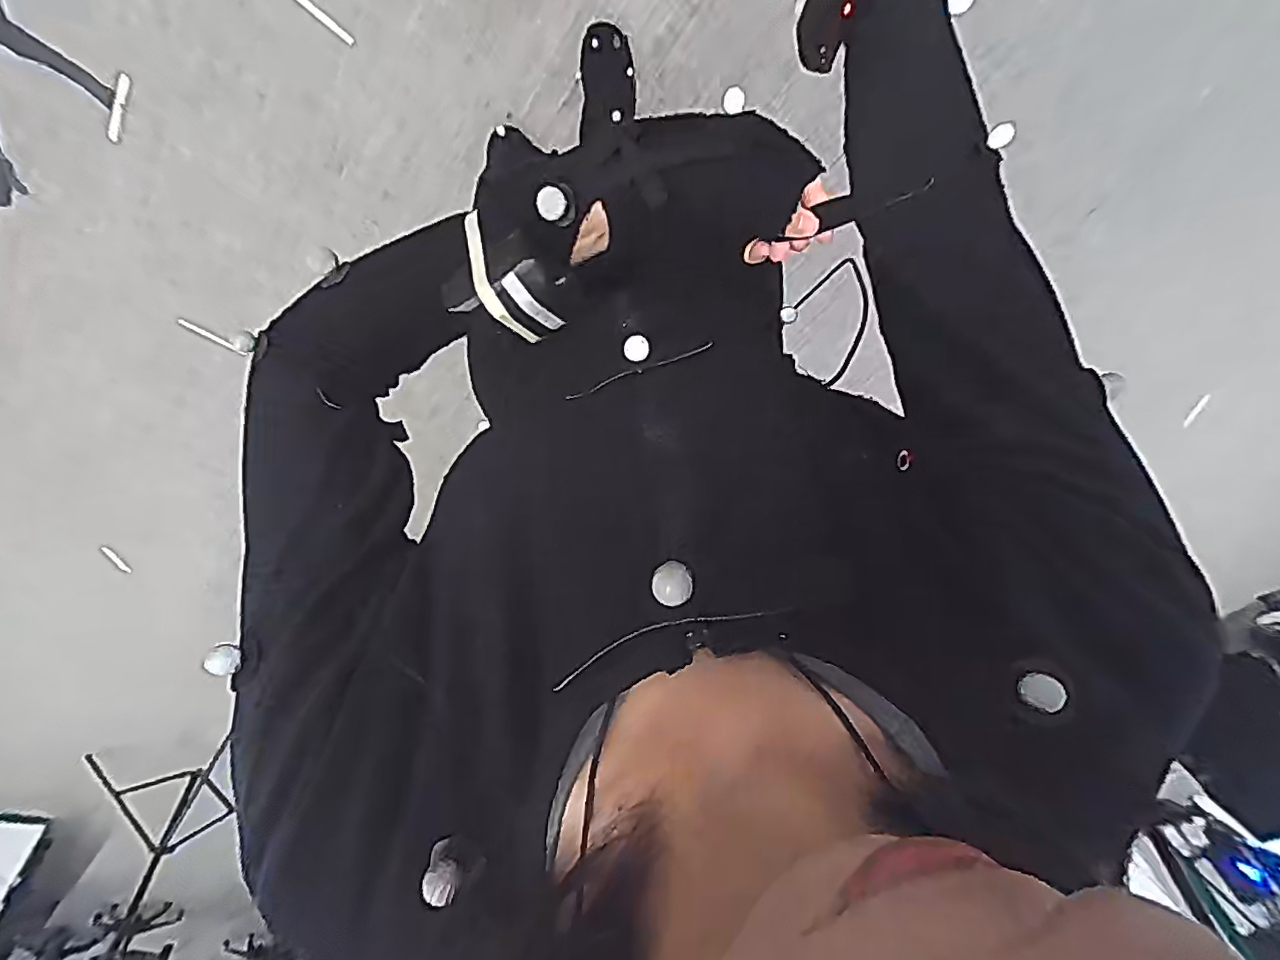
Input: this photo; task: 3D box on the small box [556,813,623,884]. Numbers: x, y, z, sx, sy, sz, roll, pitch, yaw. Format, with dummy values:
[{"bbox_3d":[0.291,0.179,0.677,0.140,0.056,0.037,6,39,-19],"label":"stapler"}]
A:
[{"bbox_3d":[-0.184,1.315,1.933,0.179,0.176,0.168,30,123,-29],"label":"small box"}]
